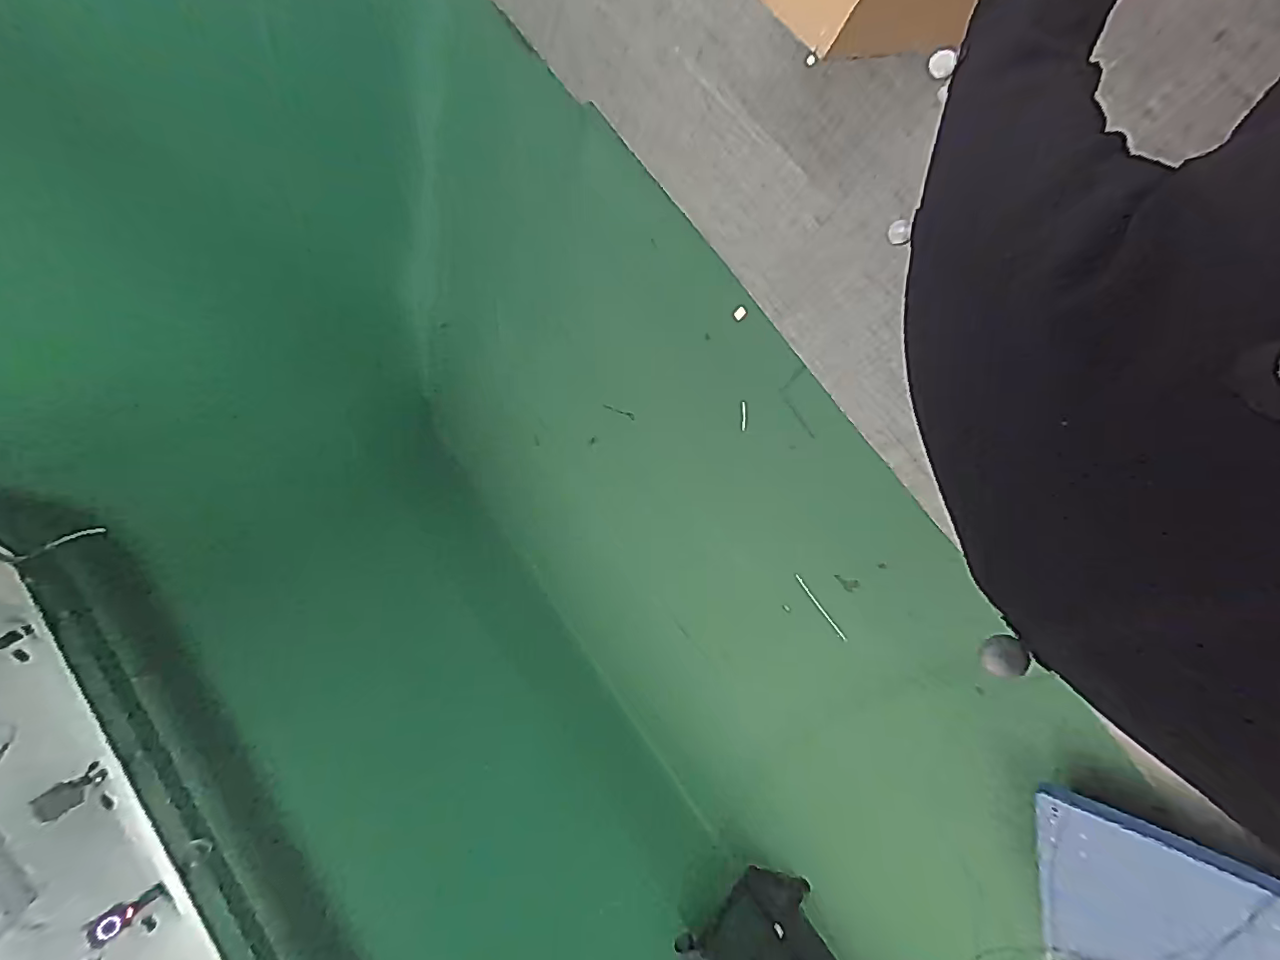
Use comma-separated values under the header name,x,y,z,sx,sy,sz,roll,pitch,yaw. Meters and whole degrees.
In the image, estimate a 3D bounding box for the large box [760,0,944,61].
name,x,y,z,sx,sy,sz,roll,pitch,yaw
large box,0.336,-0.864,0.699,0.320,0.320,0.408,51,147,7
